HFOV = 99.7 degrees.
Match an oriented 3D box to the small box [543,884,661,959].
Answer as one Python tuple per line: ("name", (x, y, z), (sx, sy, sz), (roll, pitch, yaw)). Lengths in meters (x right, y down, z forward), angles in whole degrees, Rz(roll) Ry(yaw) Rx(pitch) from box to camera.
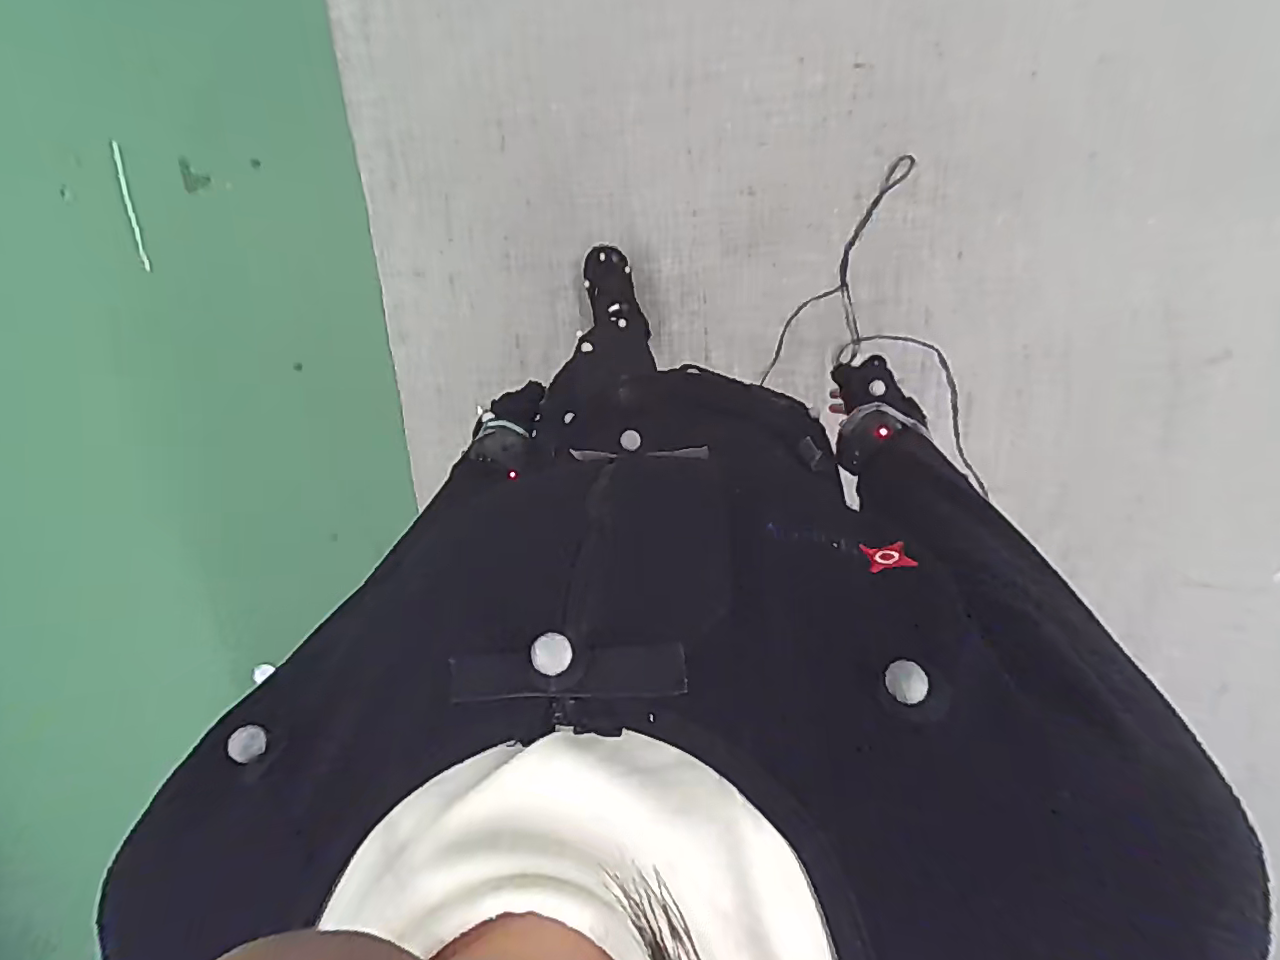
("small box", (-0.059, 0.785, 0.858), (0.168, 0.176, 0.179), (-3, 106, 9))
